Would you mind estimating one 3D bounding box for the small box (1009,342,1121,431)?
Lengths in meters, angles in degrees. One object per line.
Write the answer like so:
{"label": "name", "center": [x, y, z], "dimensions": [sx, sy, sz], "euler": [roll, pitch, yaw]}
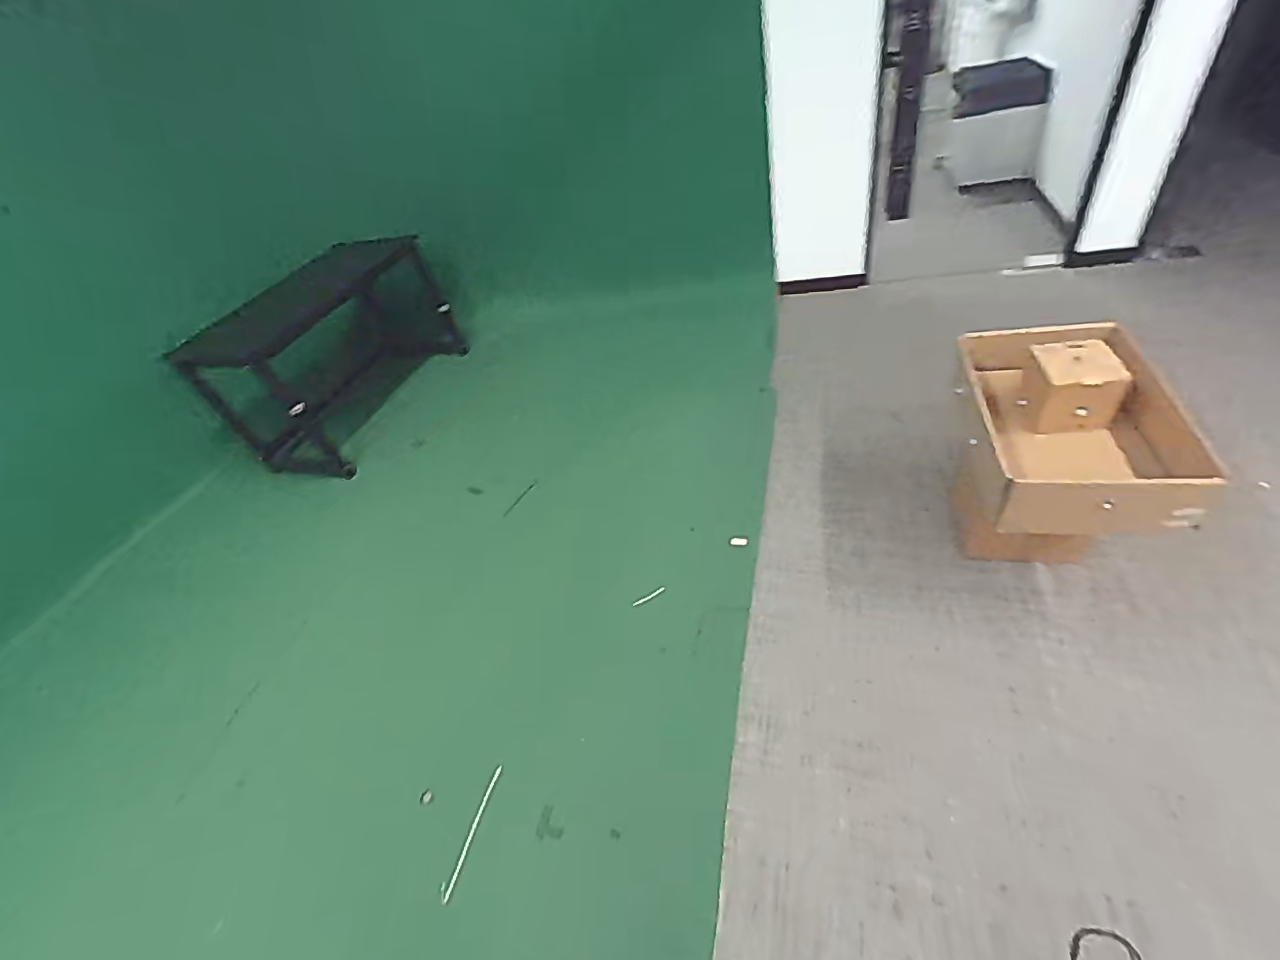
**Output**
{"label": "small box", "center": [1.124, -0.243, 1.445], "dimensions": [0.168, 0.176, 0.179], "euler": [-2, 47, 14]}
